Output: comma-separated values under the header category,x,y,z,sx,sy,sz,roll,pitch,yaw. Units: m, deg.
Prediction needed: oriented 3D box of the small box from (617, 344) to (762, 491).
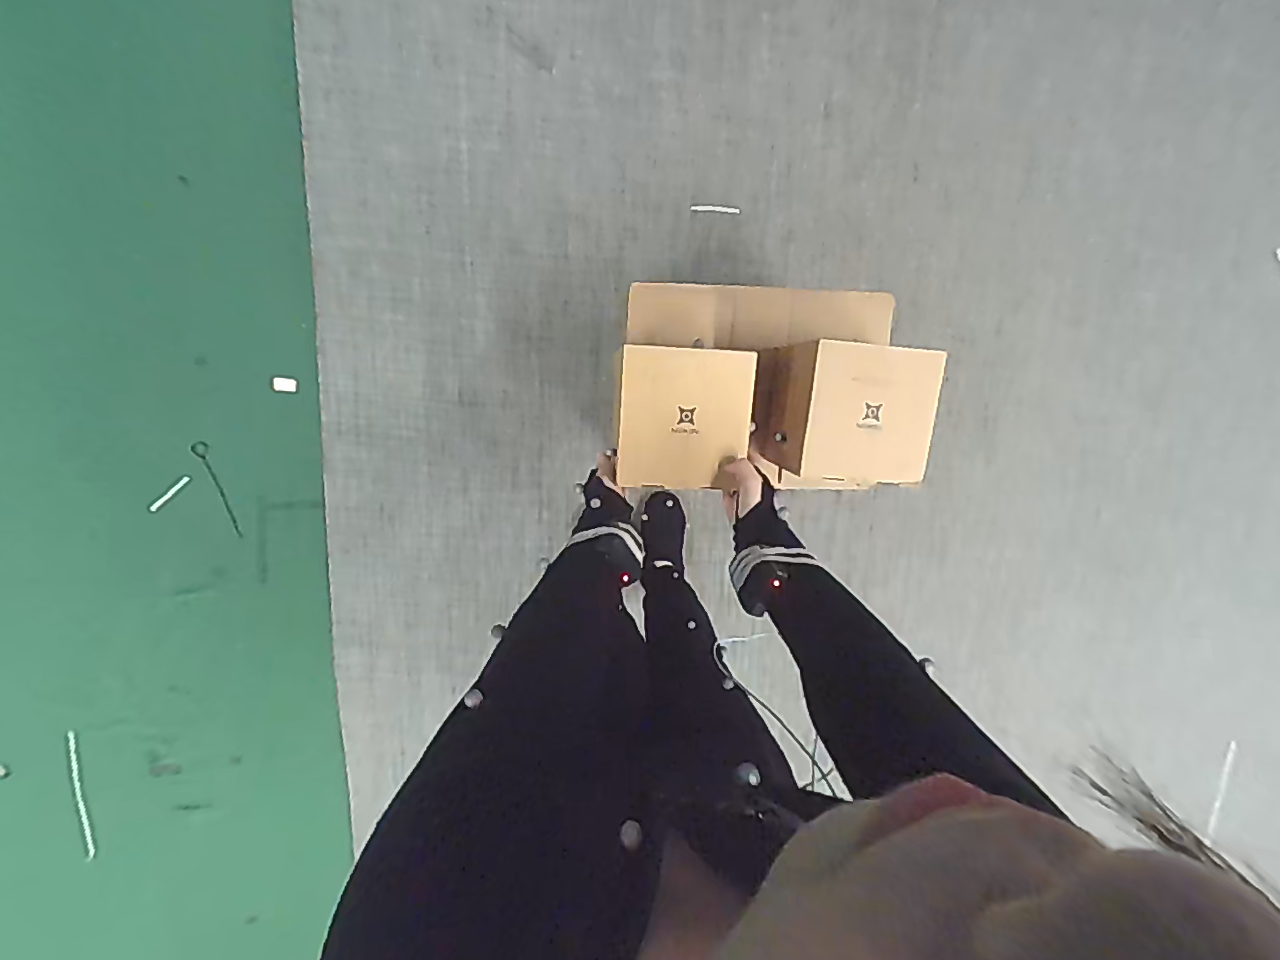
category,x,y,z,sx,sy,sz,roll,pitch,yaw
small box,0.056,-0.088,0.740,0.168,0.176,0.179,1,102,-6

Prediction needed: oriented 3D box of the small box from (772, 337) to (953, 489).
category,x,y,z,sx,sy,sz,roll,pitch,yaw
small box,0.292,-0.095,0.751,0.168,0.176,0.179,5,99,-4
